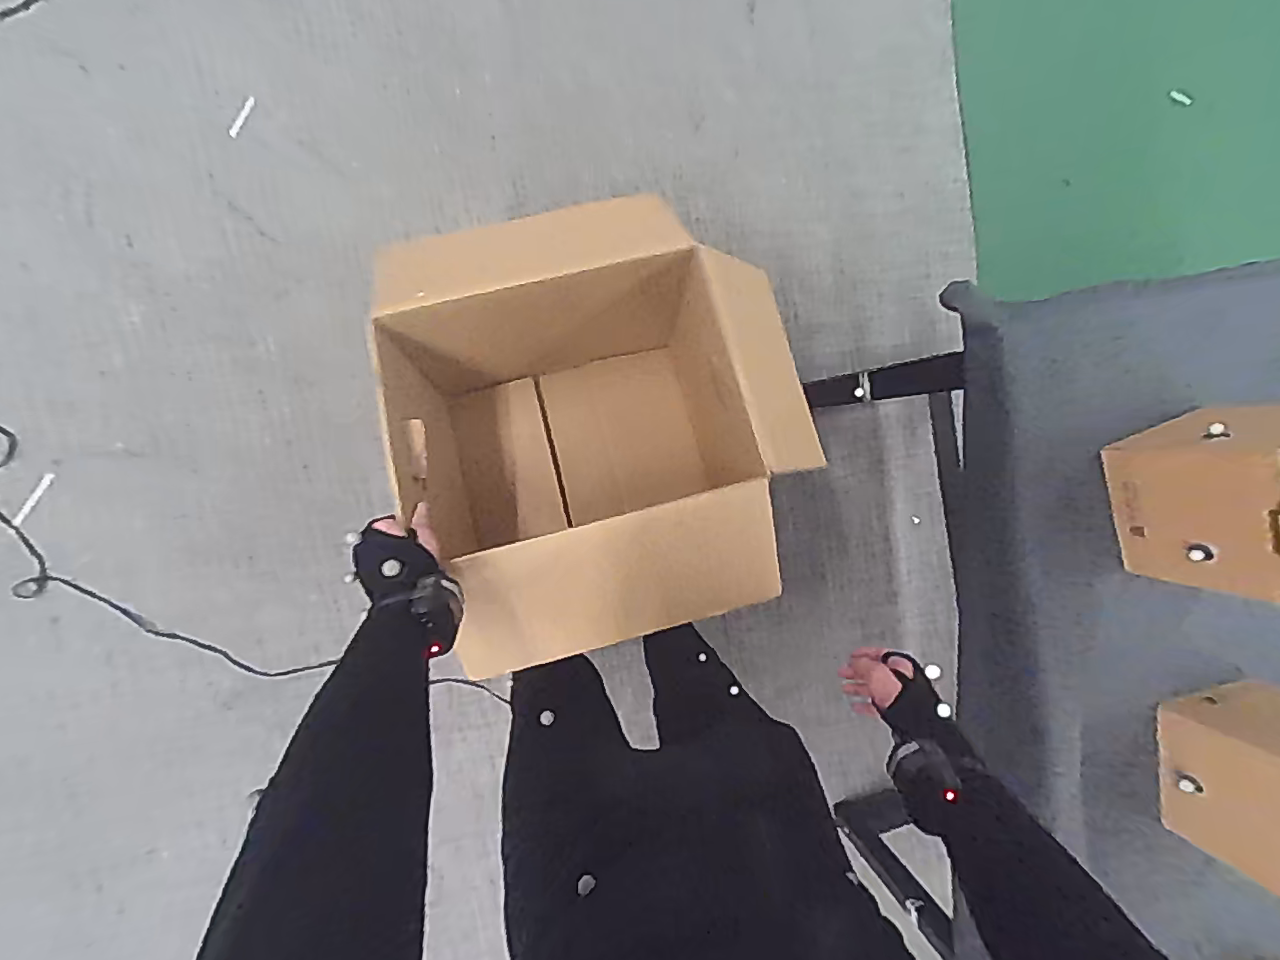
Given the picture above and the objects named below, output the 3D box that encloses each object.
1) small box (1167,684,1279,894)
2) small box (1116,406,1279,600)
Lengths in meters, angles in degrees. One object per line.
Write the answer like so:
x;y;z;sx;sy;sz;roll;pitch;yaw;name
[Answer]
0.783;0.373;0.641;0.168;0.176;0.179;-9;96;-9;small box
0.681;0.019;0.604;0.179;0.176;0.168;-20;98;-10;small box
